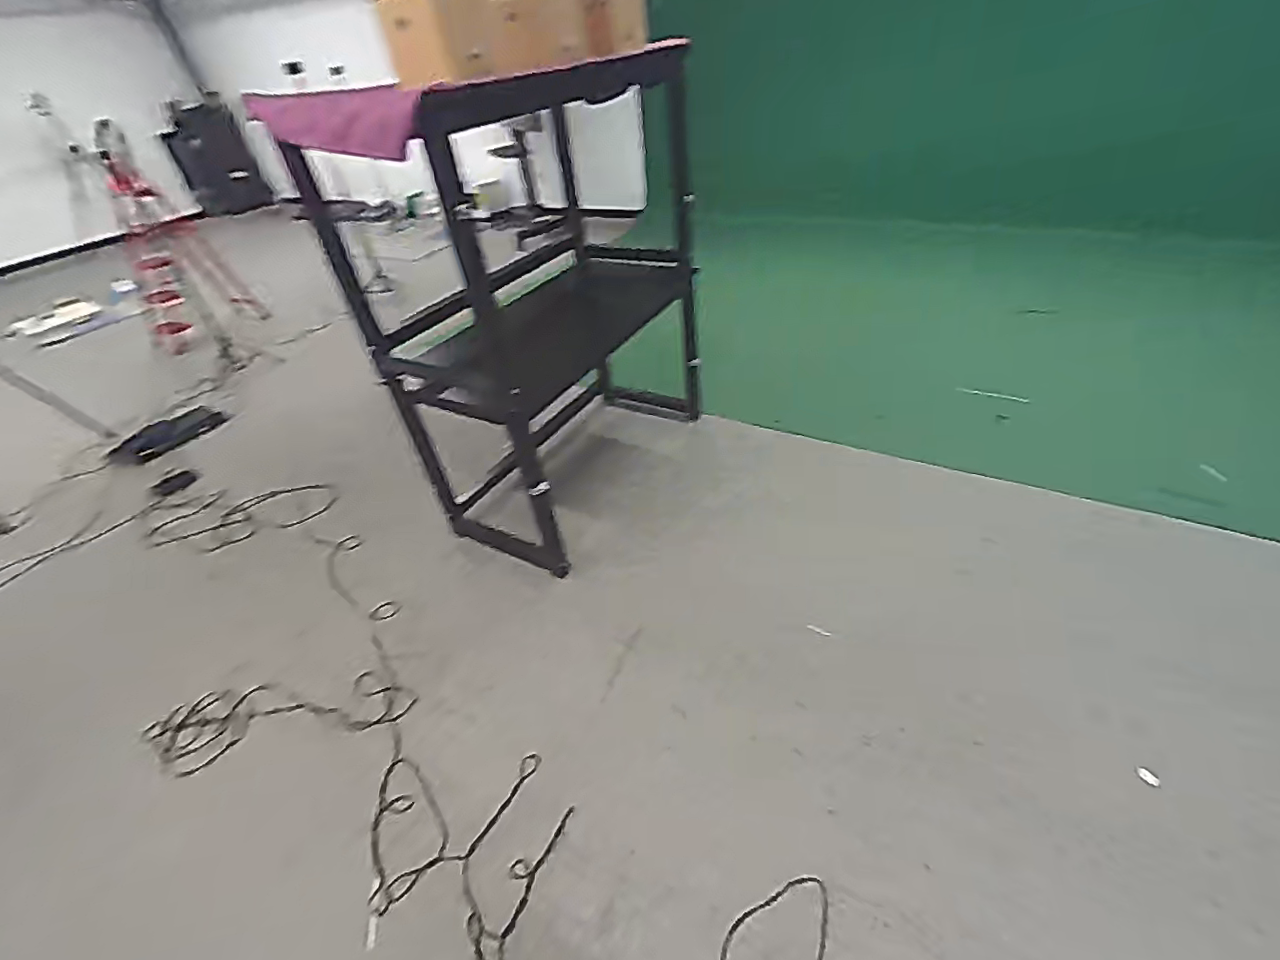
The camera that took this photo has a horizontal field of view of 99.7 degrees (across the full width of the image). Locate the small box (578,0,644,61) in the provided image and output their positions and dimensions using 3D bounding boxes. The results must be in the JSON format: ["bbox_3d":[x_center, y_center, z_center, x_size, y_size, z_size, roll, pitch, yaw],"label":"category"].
[{"bbox_3d":[-0.105,-1.386,1.637,0.179,0.176,0.168,19,47,27],"label":"small box"}]

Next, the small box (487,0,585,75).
[{"bbox_3d":[-0.269,-1.180,1.422,0.179,0.176,0.168,18,47,26],"label":"small box"}]

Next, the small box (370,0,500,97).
[{"bbox_3d":[-0.439,-0.952,1.180,0.179,0.176,0.168,15,46,27],"label":"small box"}]
